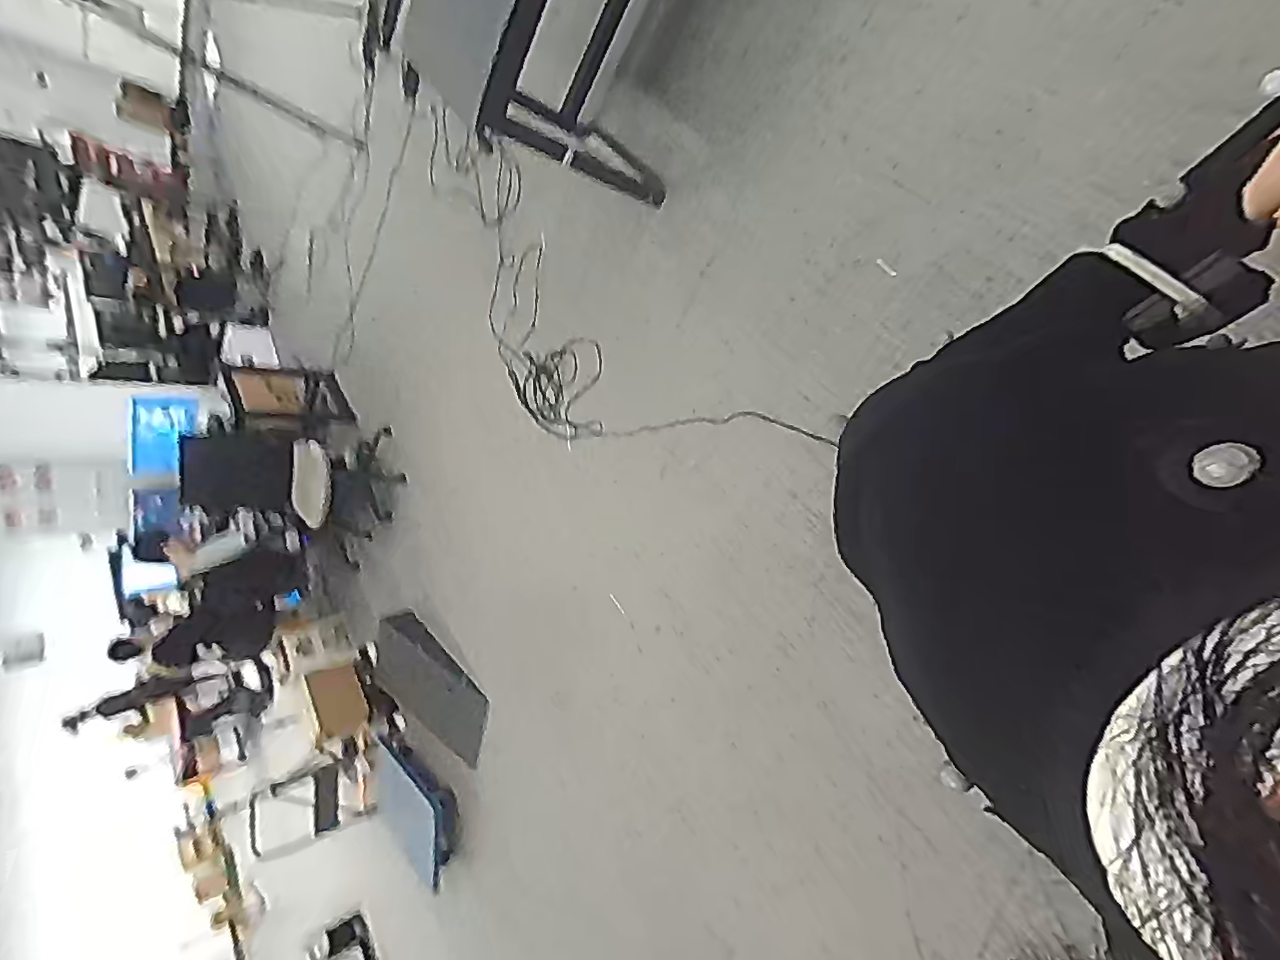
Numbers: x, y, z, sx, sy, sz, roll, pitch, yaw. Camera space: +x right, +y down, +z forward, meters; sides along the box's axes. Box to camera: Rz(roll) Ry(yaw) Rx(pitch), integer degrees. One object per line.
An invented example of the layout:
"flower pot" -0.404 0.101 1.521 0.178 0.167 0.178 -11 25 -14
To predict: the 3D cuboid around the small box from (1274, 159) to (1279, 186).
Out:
"small box" 0.423 -0.173 0.207 0.168 0.176 0.179 47 137 32
